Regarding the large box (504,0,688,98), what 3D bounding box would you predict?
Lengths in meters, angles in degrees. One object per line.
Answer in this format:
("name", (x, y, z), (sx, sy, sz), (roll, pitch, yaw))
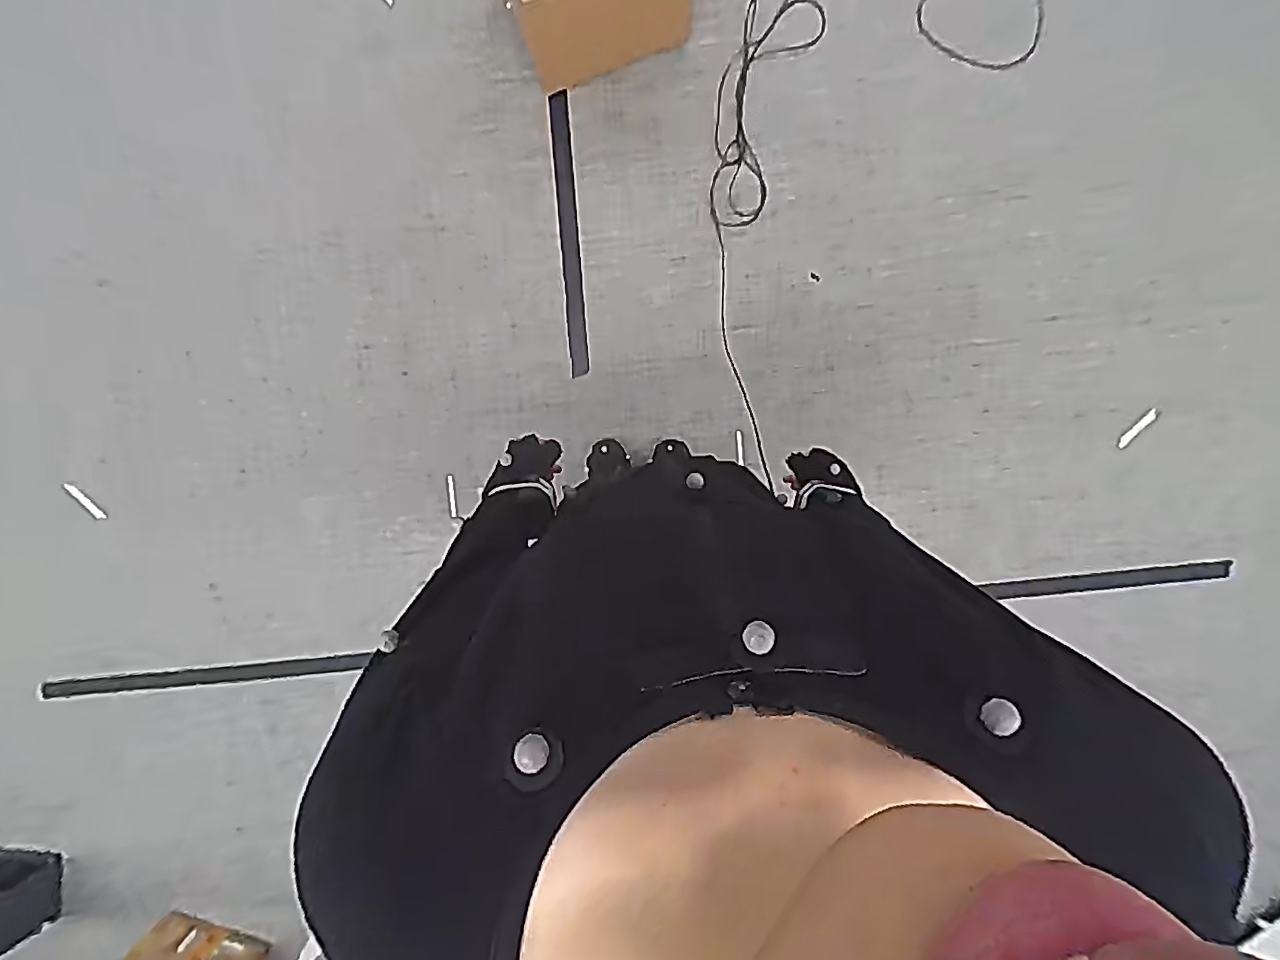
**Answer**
("large box", (-0.122, -1.206, 1.264), (0.408, 0.320, 0.320), (-22, 94, 0))
